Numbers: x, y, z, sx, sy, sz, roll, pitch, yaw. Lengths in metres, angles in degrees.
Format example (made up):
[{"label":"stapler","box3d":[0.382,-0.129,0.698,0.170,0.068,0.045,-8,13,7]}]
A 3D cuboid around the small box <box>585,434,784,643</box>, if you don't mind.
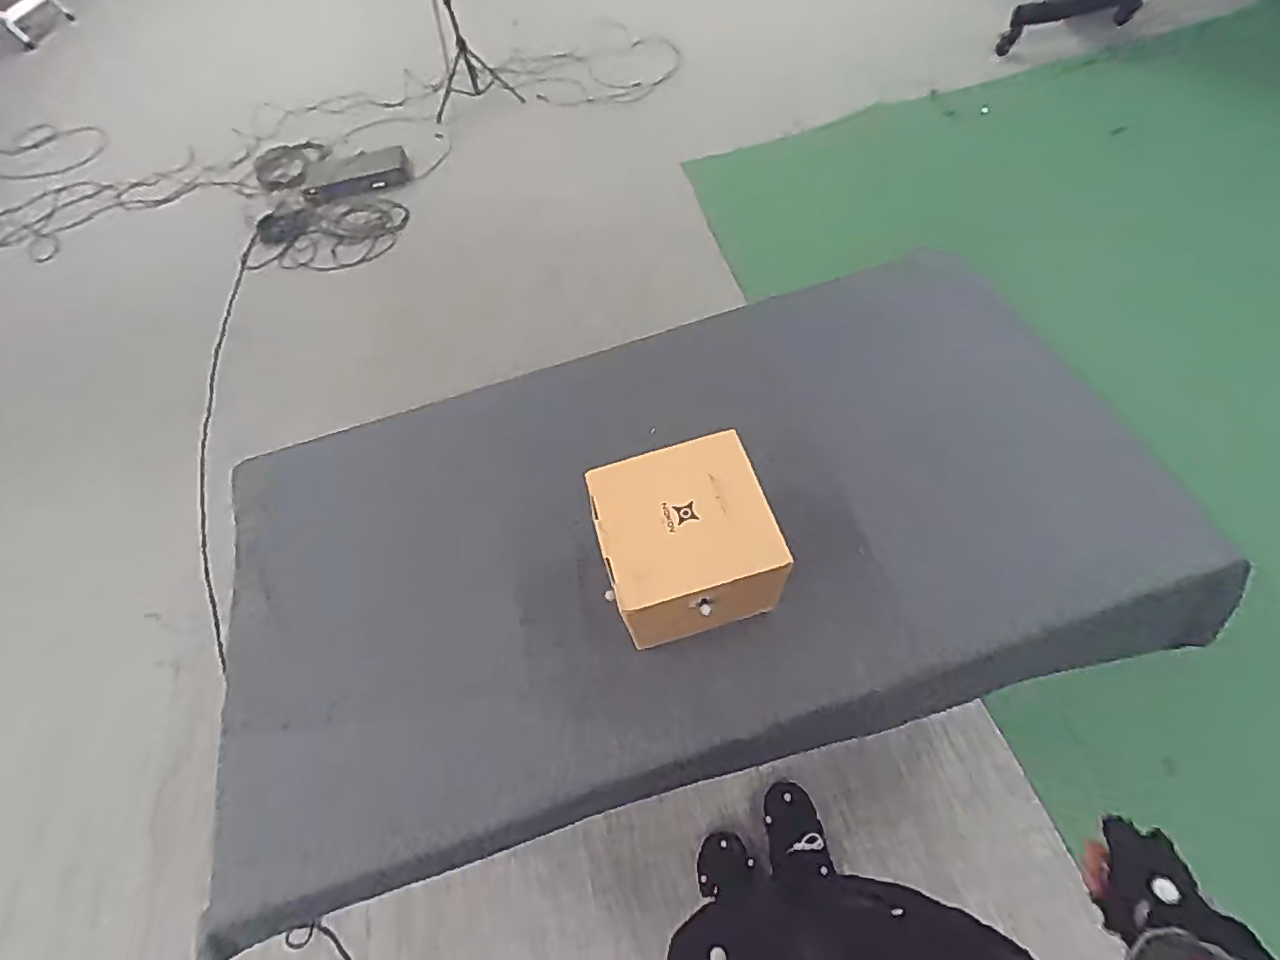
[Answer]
[{"label":"small box","box3d":[0.049,0.076,0.636,0.179,0.176,0.168,-16,61,-3]}]
